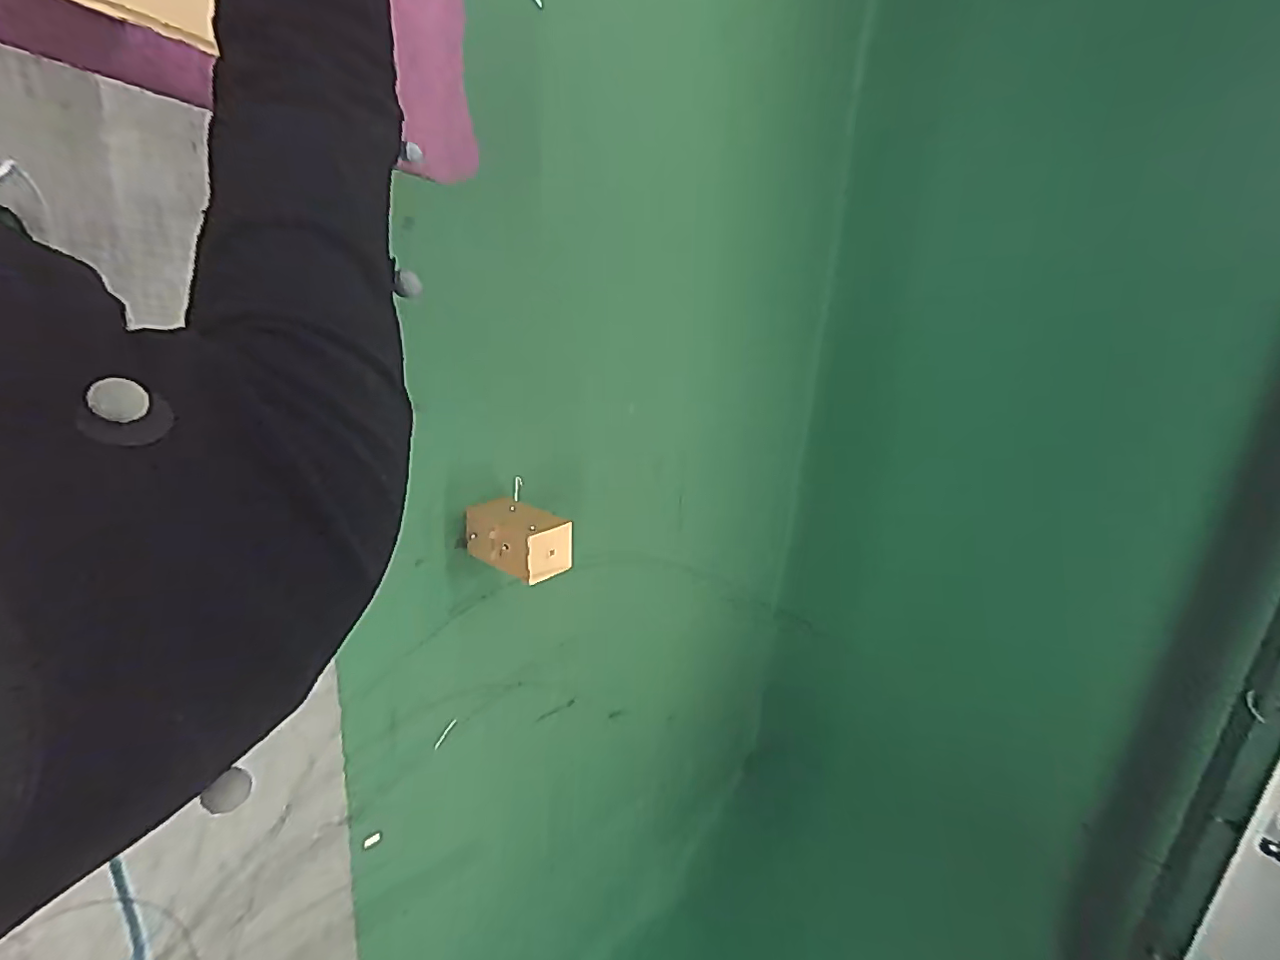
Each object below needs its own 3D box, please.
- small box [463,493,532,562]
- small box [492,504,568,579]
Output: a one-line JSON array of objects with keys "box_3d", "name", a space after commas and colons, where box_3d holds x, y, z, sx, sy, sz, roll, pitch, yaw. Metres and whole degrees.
[{"box_3d": [-0.478, 0.154, 1.833, 0.179, 0.176, 0.168, -16, 115, -48], "name": "small box"}, {"box_3d": [-0.353, 0.190, 1.735, 0.179, 0.176, 0.168, -18, 118, -47], "name": "small box"}]
